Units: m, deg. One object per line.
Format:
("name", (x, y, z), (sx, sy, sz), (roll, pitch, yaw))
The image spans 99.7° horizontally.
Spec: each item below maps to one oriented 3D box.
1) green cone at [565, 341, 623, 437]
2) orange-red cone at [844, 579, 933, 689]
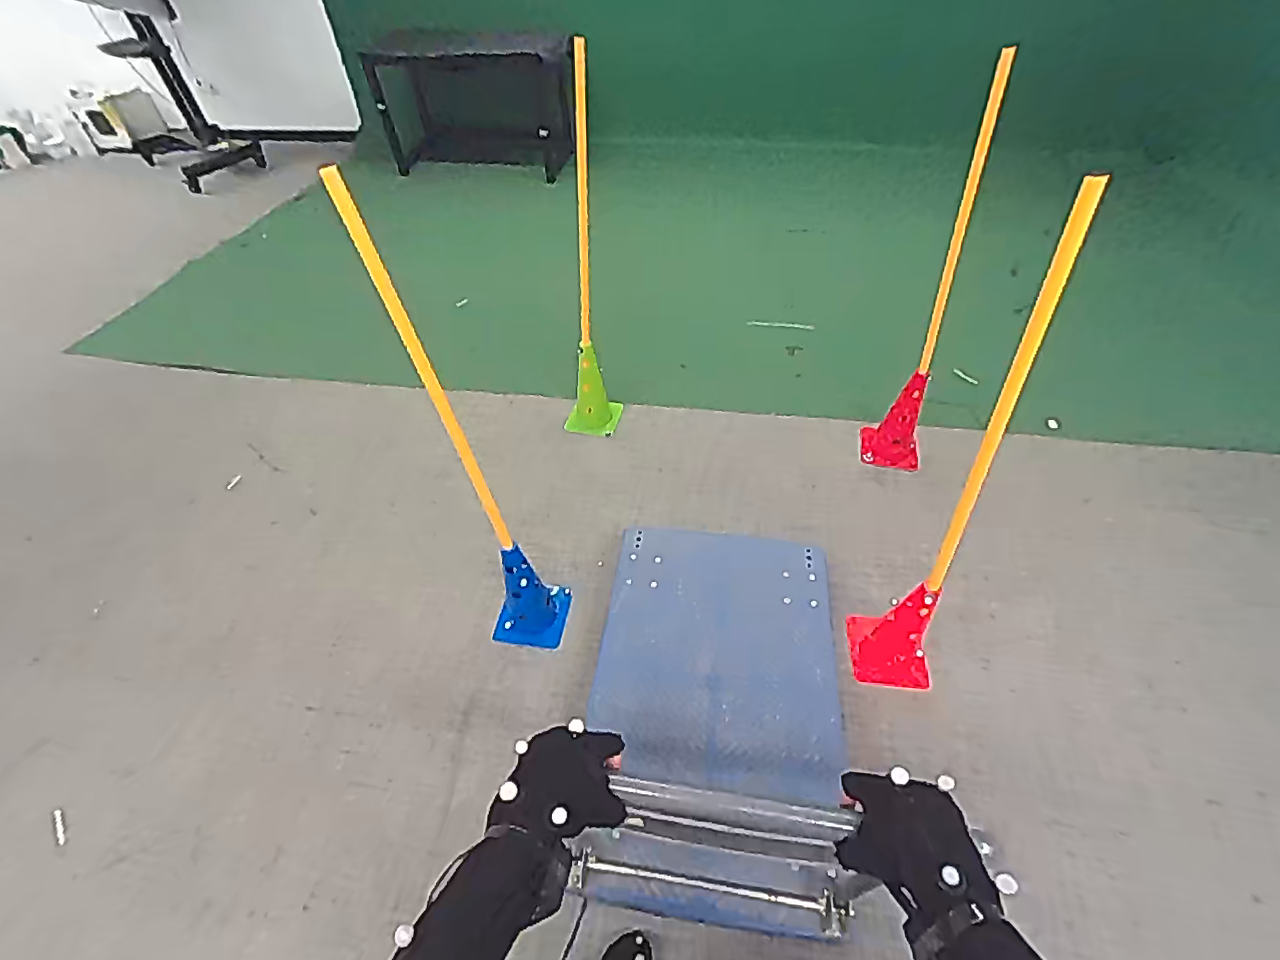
("green cone", (-0.191, -0.367, 2.067), (0.202, 0.368, 0.200), (8, 49, 11))
("orange-red cone", (0.672, 0.366, 1.390), (0.199, 0.360, 0.198), (4, 48, 8))
